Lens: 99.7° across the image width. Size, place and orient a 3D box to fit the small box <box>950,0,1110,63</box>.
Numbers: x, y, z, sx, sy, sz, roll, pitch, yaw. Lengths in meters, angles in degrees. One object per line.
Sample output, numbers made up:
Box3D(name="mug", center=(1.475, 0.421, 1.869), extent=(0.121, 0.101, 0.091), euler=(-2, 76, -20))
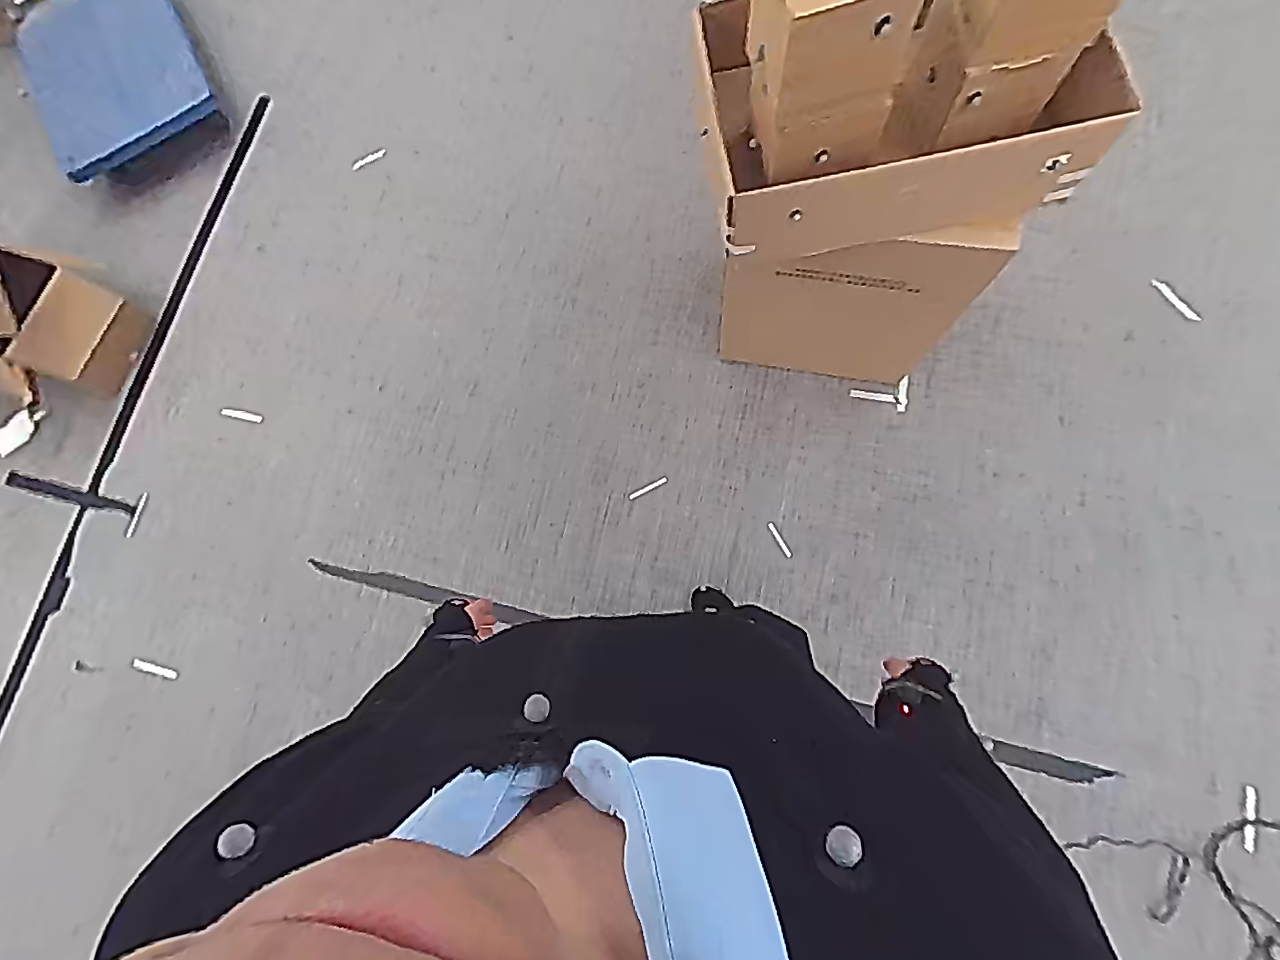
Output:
Box3D(name="small box", center=(0.554, -0.722, 0.747), extent=(0.179, 0.176, 0.168), euler=(-5, 78, 6))

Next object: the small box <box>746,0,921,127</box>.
Box3D(name="small box", center=(0.260, -0.647, 0.763), extent=(0.179, 0.176, 0.168), euler=(-13, 77, 3))
